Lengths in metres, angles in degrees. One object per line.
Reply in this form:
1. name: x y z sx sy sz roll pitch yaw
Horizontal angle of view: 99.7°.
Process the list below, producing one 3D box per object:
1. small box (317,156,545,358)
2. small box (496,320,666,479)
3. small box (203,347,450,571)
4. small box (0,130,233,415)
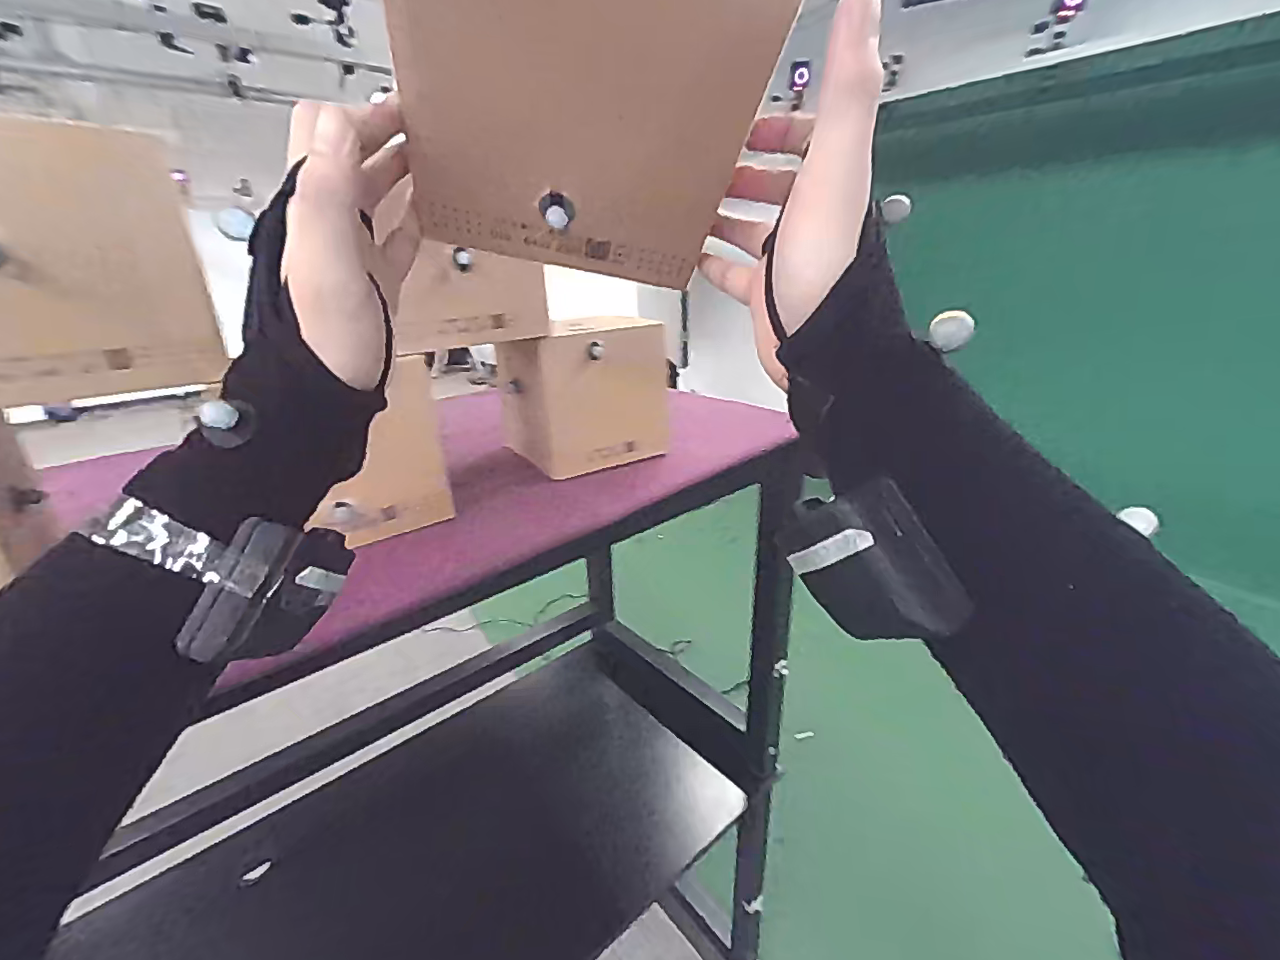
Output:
1. small box: -0.213 -0.225 0.565 0.168 0.176 0.179 -18 26 -33
2. small box: -0.080 -0.113 0.711 0.168 0.176 0.179 -16 25 -28
3. small box: -0.310 -0.033 0.543 0.168 0.176 0.179 -19 28 -33
4. small box: -0.431 -0.143 0.395 0.179 0.176 0.168 17 28 42
